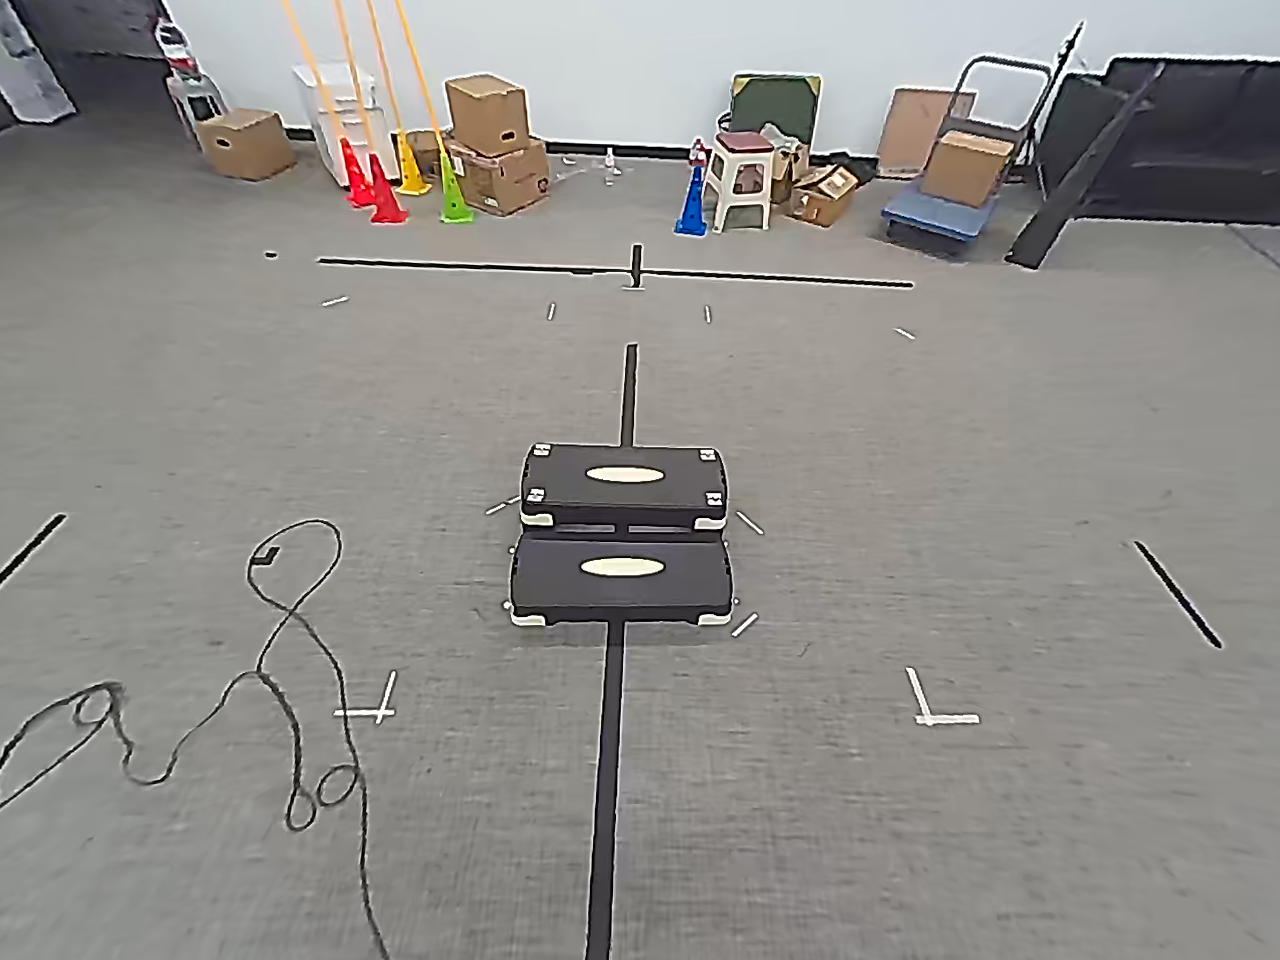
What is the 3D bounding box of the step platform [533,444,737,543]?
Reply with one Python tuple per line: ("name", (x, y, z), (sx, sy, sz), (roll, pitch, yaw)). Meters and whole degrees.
("step platform", (-0.016, 0.041, 1.841), (0.684, 0.204, 0.286), (2, 48, -3))
